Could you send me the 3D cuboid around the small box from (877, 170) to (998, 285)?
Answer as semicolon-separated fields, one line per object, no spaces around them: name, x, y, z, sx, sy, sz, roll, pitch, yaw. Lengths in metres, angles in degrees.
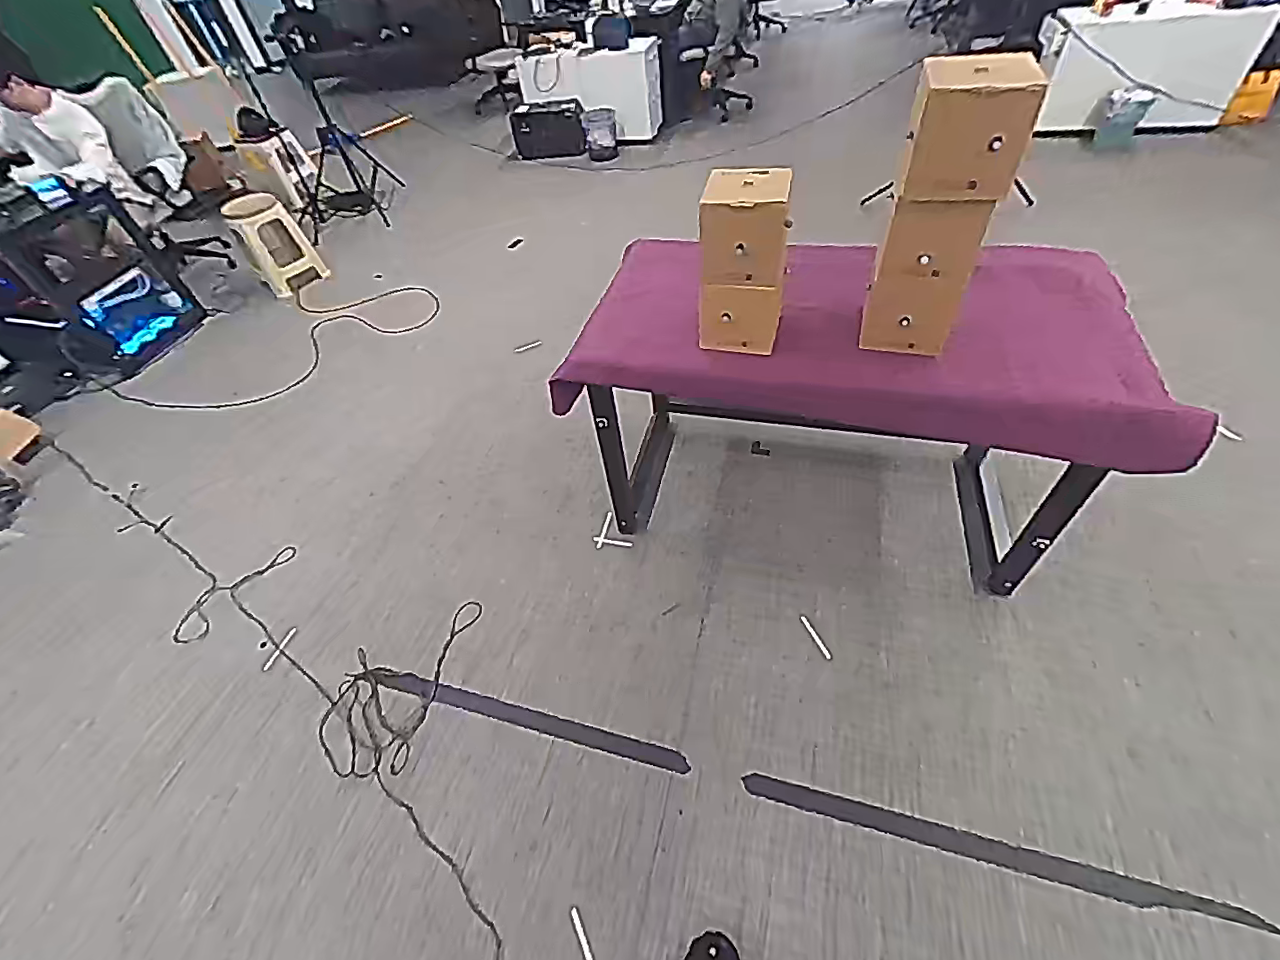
small box;0.571;-0.506;1.058;0.168;0.176;0.179;10;52;16

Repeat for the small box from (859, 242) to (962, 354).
small box;0.583;-0.397;1.180;0.168;0.176;0.179;11;51;16

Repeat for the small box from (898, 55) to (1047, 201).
small box;0.550;-0.595;0.922;0.168;0.176;0.179;8;50;13

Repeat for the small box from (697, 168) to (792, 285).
small box;0.217;-0.522;1.121;0.168;0.176;0.179;7;50;13

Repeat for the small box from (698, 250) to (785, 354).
small box;0.233;-0.409;1.239;0.168;0.176;0.179;9;50;15
